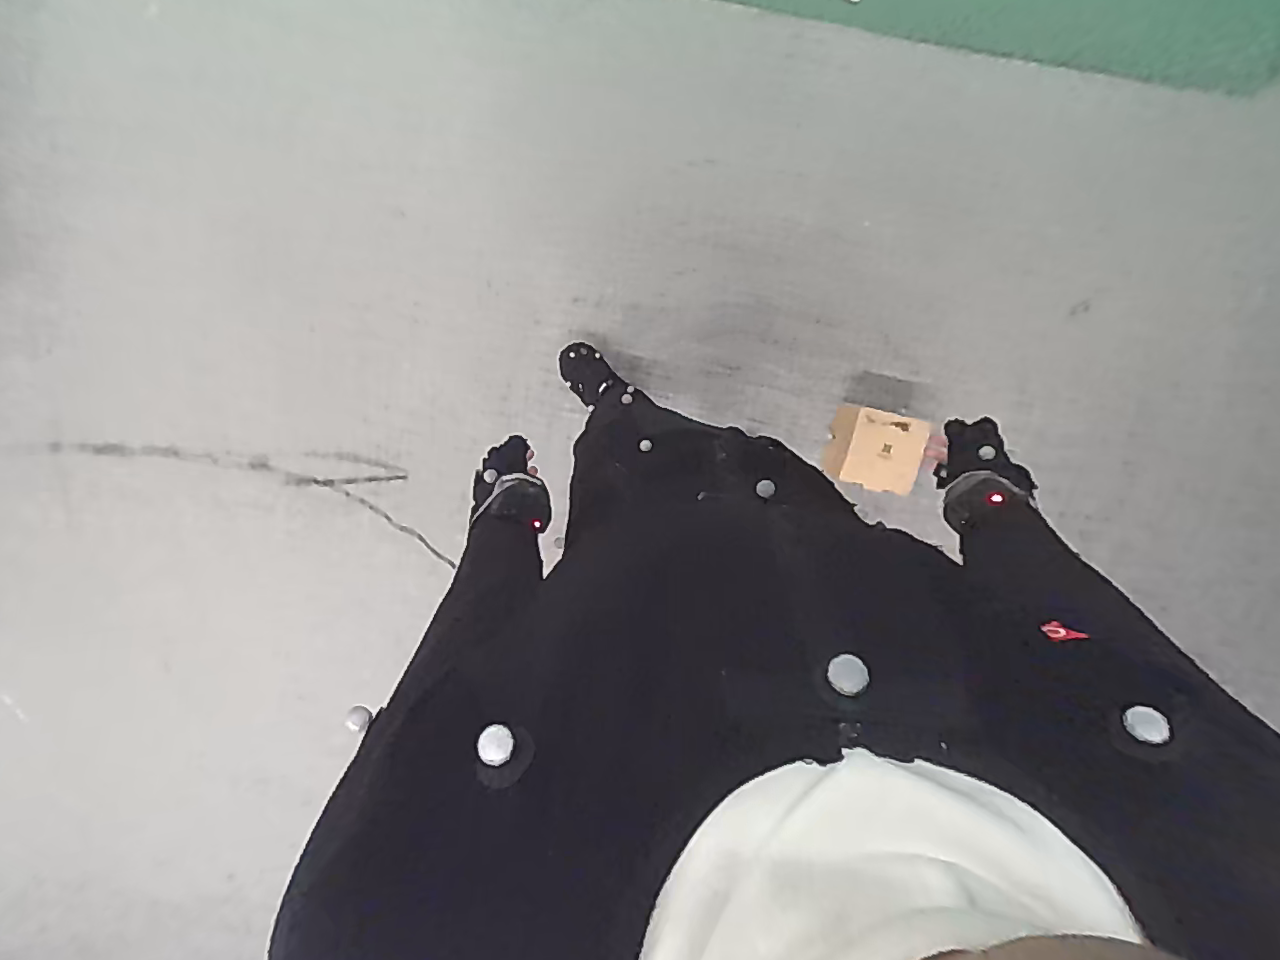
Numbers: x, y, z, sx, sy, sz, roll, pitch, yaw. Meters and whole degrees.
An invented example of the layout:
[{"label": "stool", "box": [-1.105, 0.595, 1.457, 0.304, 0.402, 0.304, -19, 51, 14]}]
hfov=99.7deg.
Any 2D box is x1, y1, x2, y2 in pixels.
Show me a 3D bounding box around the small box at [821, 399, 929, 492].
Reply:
[{"label": "small box", "box": [0.555, -0.090, 1.307, 0.168, 0.176, 0.179, 14, 103, 0]}]
